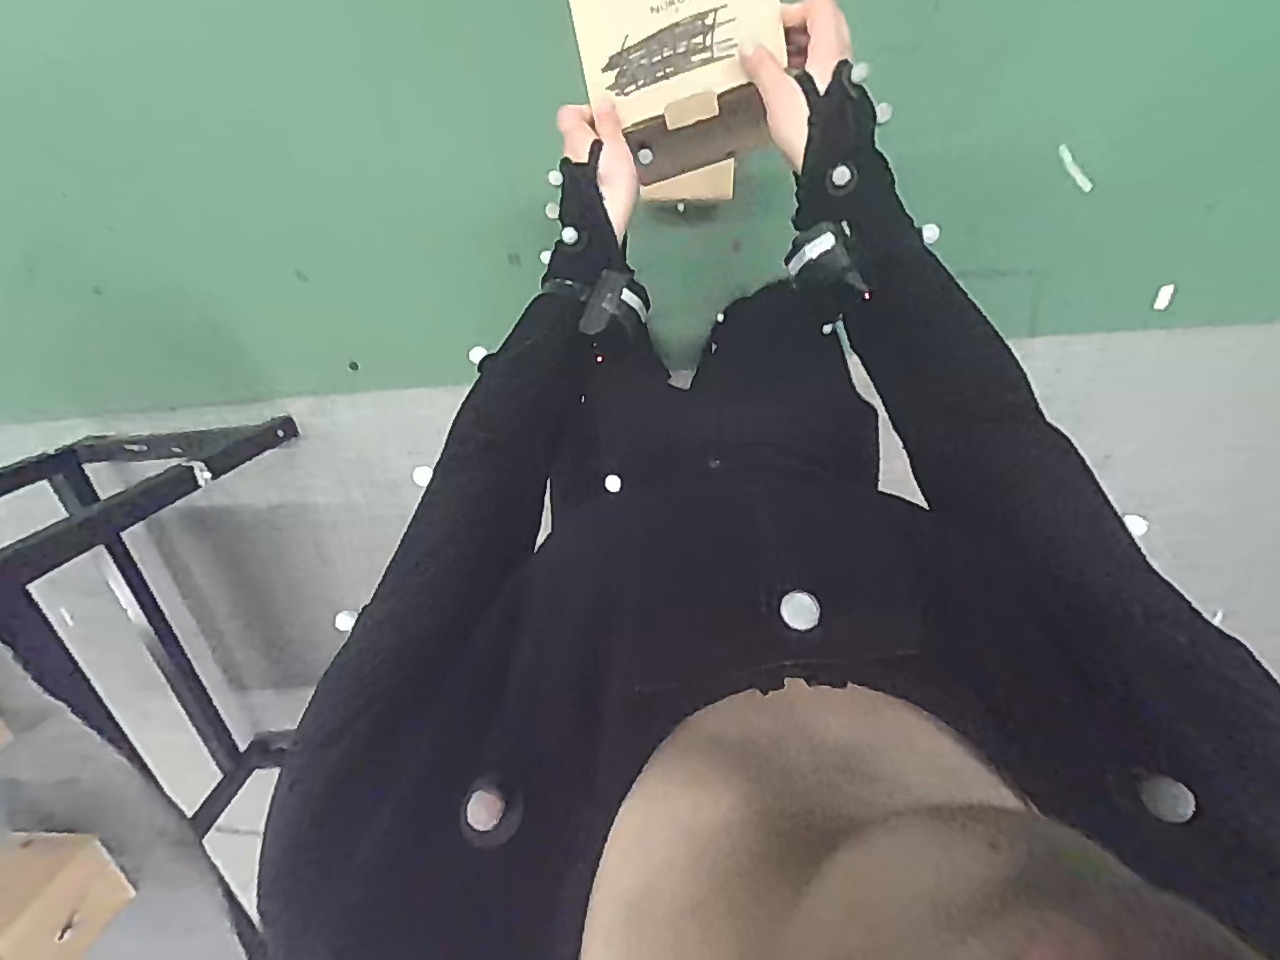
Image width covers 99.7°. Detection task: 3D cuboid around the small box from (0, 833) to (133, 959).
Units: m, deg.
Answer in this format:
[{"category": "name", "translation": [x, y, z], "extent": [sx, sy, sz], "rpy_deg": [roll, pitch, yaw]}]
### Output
[{"category": "small box", "translation": [-1.006, 0.720, 0.888], "extent": [0.168, 0.176, 0.179], "rpy_deg": [-2, 115, 4]}]

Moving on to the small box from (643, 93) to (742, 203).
[{"category": "small box", "translation": [0.094, -0.634, 1.048], "extent": [0.179, 0.176, 0.168], "rpy_deg": [0, 114, 2]}]
